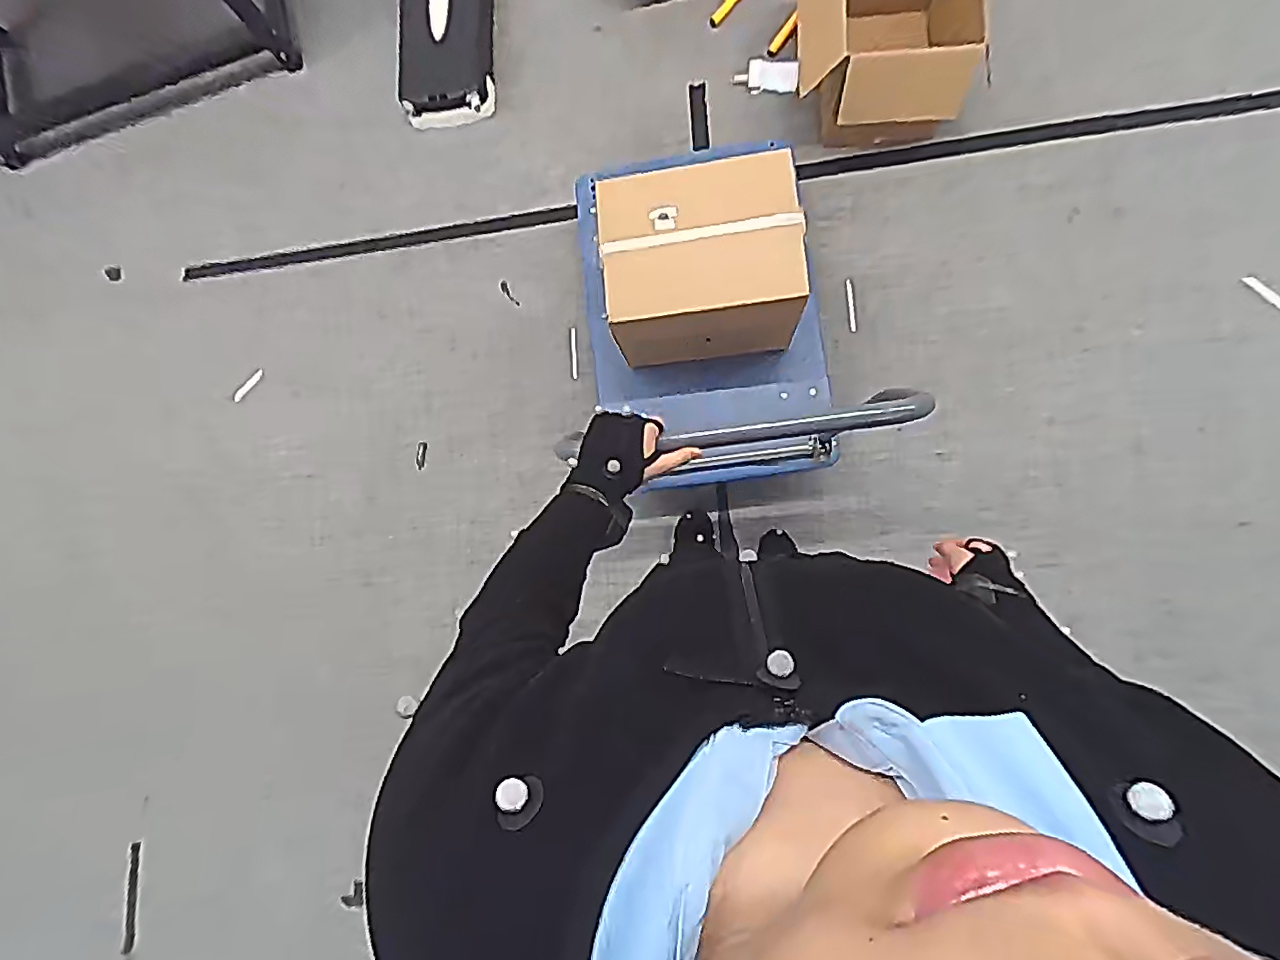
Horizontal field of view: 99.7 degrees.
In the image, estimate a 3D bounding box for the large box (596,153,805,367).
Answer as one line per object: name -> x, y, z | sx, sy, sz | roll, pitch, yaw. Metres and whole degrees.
large box -> 0.140, -0.477, 1.252 | 0.408, 0.320, 0.320 | -6, 82, 8
